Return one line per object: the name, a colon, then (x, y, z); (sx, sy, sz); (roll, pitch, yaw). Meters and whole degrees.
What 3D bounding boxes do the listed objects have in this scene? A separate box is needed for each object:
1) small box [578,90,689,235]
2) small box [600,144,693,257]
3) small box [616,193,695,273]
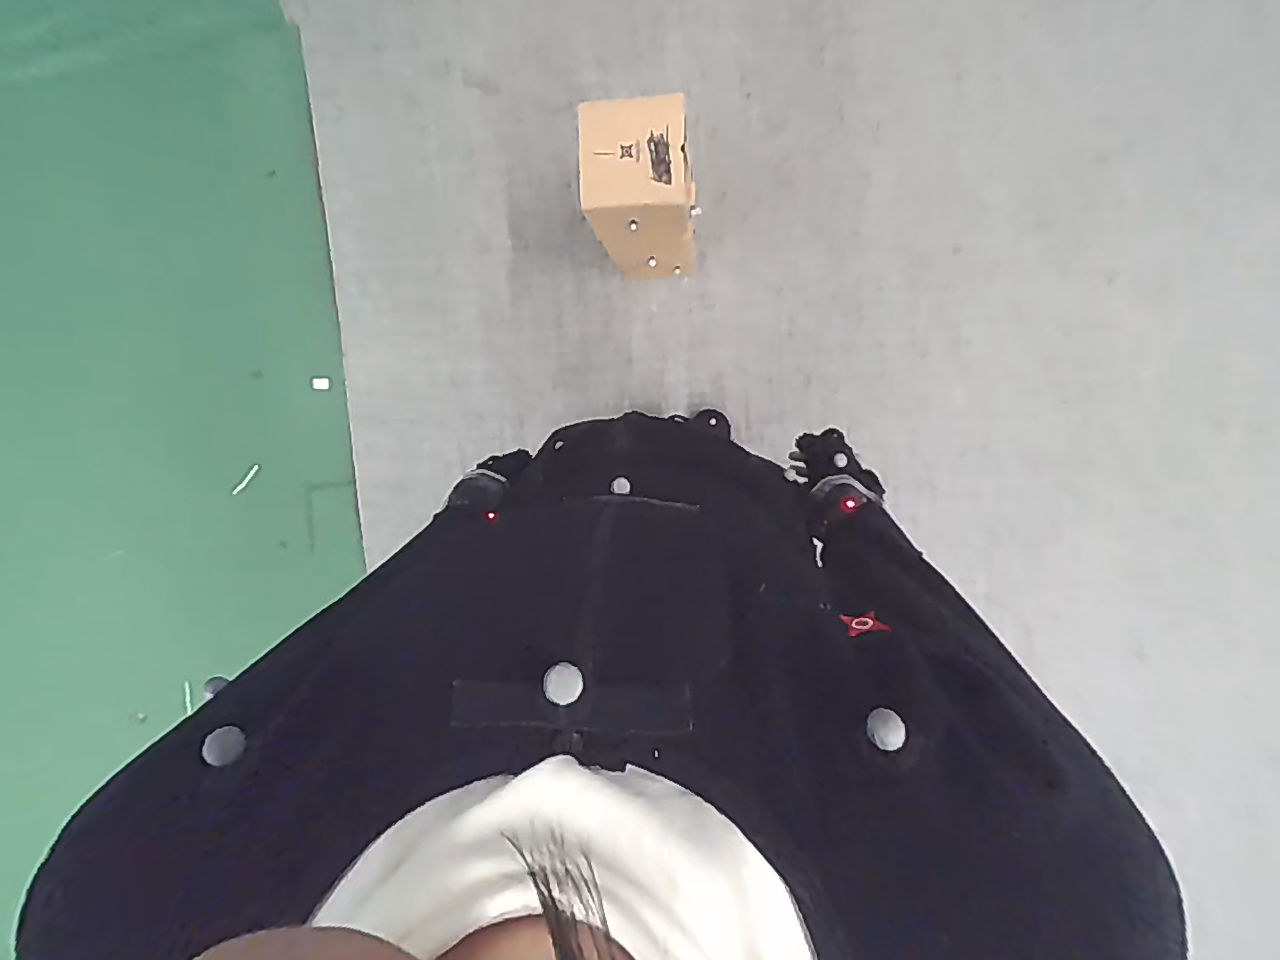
small box: (-0.004, -0.545, 0.949); (0.179, 0.176, 0.168); (-2, 98, 6)
small box: (0.019, -0.566, 1.111); (0.179, 0.176, 0.168); (3, 98, 6)
small box: (0.039, -0.594, 1.271); (0.179, 0.176, 0.168); (-1, 97, 9)
